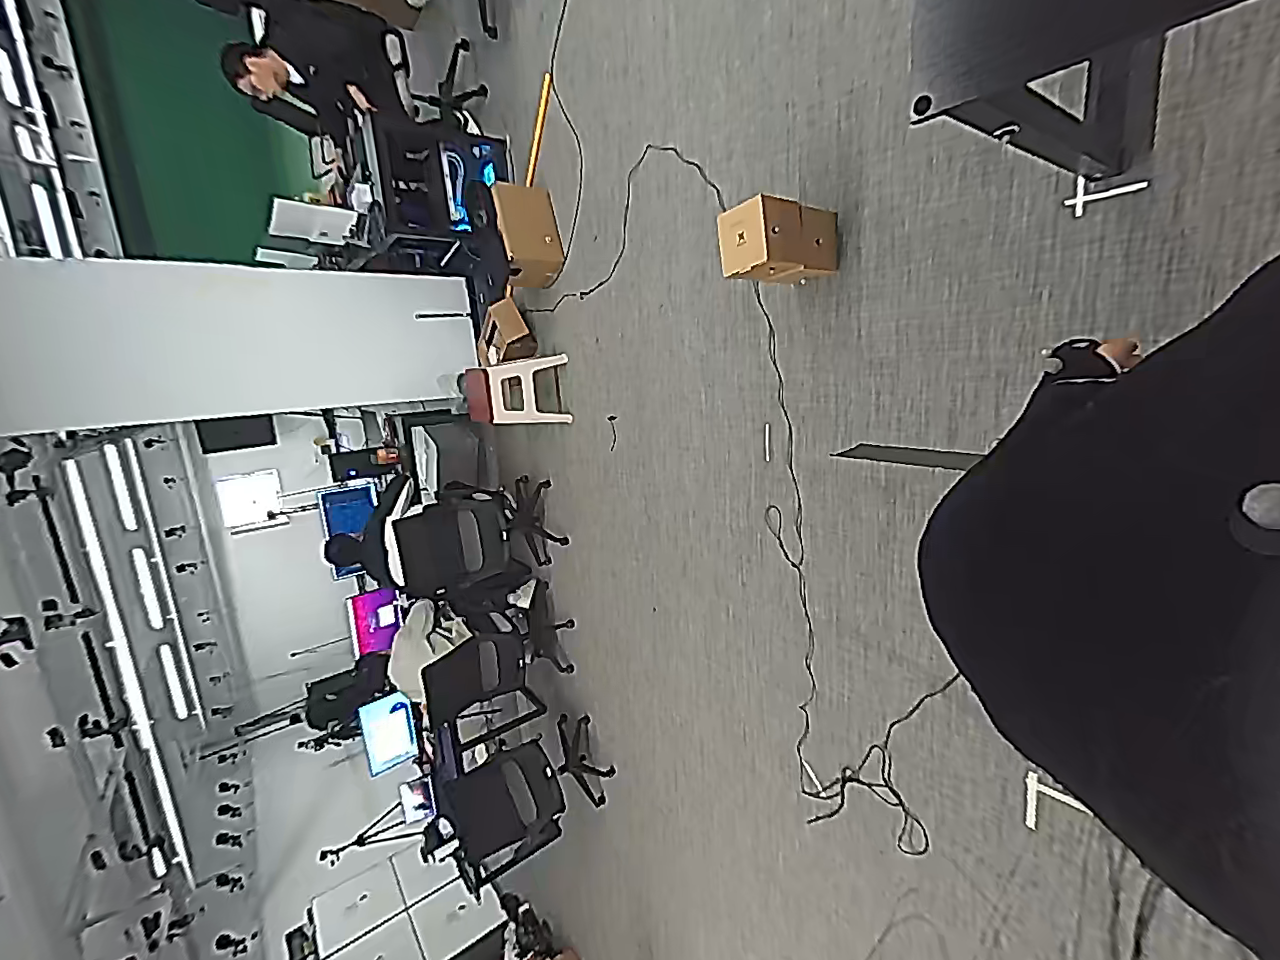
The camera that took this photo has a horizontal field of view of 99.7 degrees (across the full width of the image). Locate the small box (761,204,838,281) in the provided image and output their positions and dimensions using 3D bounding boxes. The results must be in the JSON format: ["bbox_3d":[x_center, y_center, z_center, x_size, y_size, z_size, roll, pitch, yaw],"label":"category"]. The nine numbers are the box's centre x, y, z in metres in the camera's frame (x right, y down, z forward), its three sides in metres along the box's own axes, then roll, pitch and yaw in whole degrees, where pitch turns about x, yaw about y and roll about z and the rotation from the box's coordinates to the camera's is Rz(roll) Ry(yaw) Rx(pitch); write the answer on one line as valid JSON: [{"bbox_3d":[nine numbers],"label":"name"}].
[{"bbox_3d":[0.478,-0.709,1.633,0.168,0.176,0.179,7,106,53],"label":"small box"}]

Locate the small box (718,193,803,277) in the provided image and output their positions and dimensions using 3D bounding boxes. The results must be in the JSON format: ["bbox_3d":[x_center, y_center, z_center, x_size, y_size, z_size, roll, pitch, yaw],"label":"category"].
[{"bbox_3d":[0.347,-0.686,1.539,0.168,0.176,0.179,1,100,53],"label":"small box"}]
